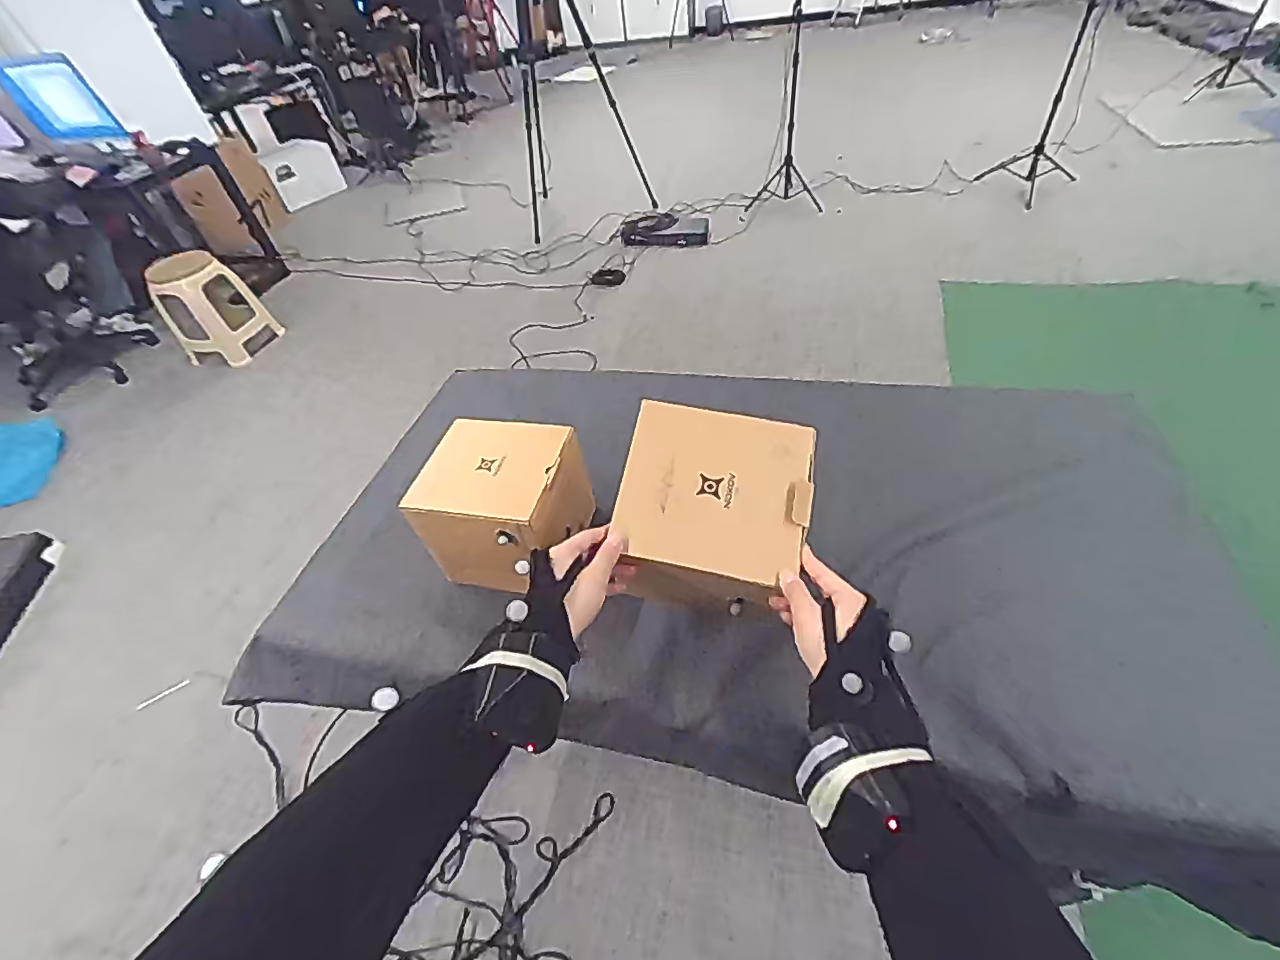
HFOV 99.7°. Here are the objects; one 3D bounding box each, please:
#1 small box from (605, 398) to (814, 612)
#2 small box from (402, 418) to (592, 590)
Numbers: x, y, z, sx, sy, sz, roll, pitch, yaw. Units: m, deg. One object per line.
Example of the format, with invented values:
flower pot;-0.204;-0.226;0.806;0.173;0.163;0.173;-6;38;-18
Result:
small box;0.075;0.035;0.581;0.179;0.176;0.168;9;65;10
small box;-0.180;0.034;0.743;0.179;0.176;0.168;5;48;13
